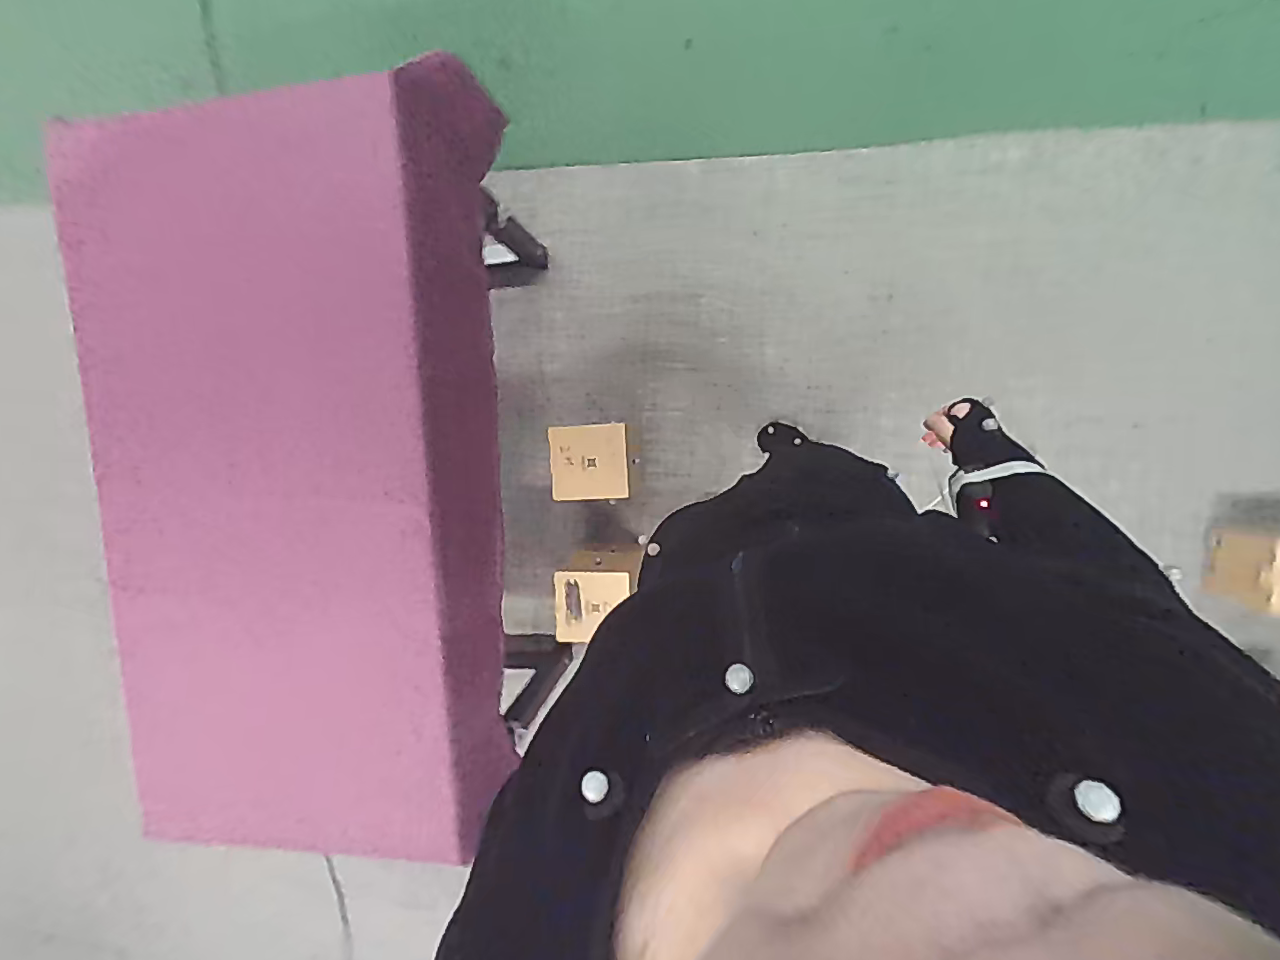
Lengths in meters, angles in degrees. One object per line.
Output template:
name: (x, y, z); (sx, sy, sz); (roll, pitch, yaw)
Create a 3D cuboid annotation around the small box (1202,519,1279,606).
small box: (1.433, 0.183, 1.216); (0.179, 0.176, 0.168); (0, 96, 8)
